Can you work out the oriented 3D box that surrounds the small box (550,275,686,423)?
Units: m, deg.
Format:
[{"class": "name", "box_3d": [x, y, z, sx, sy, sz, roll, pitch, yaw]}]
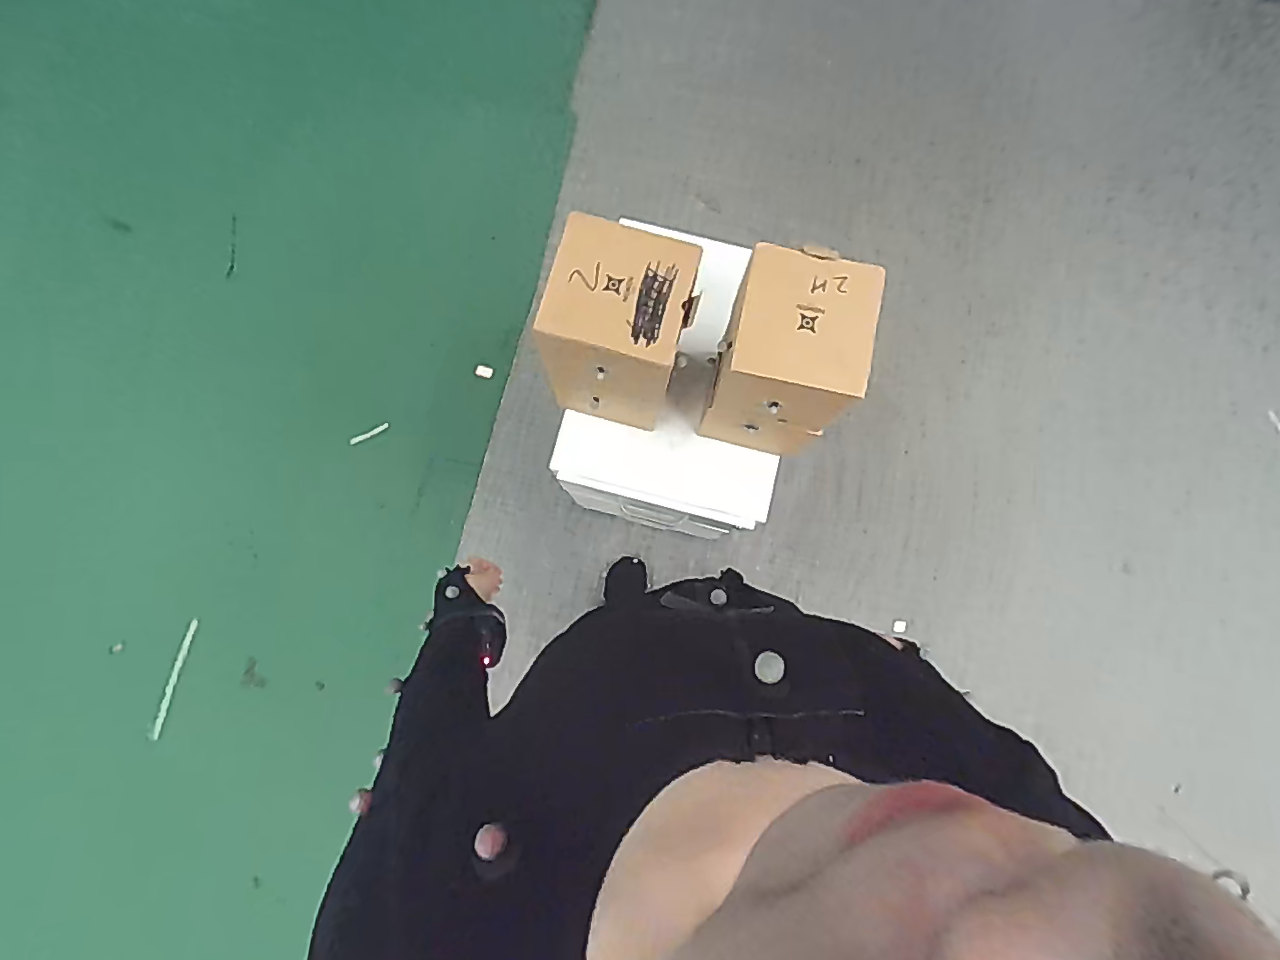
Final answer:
[{"class": "small box", "box_3d": [-0.037, -0.207, 0.905, 0.179, 0.176, 0.168, 15, 81, -1]}]

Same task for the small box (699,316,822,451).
[{"class": "small box", "box_3d": [0.205, -0.158, 0.903, 0.179, 0.176, 0.168, 15, 81, 1]}]

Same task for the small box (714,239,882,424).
[{"class": "small box", "box_3d": [0.204, -0.190, 0.742, 0.168, 0.176, 0.179, 13, 81, 1]}]
